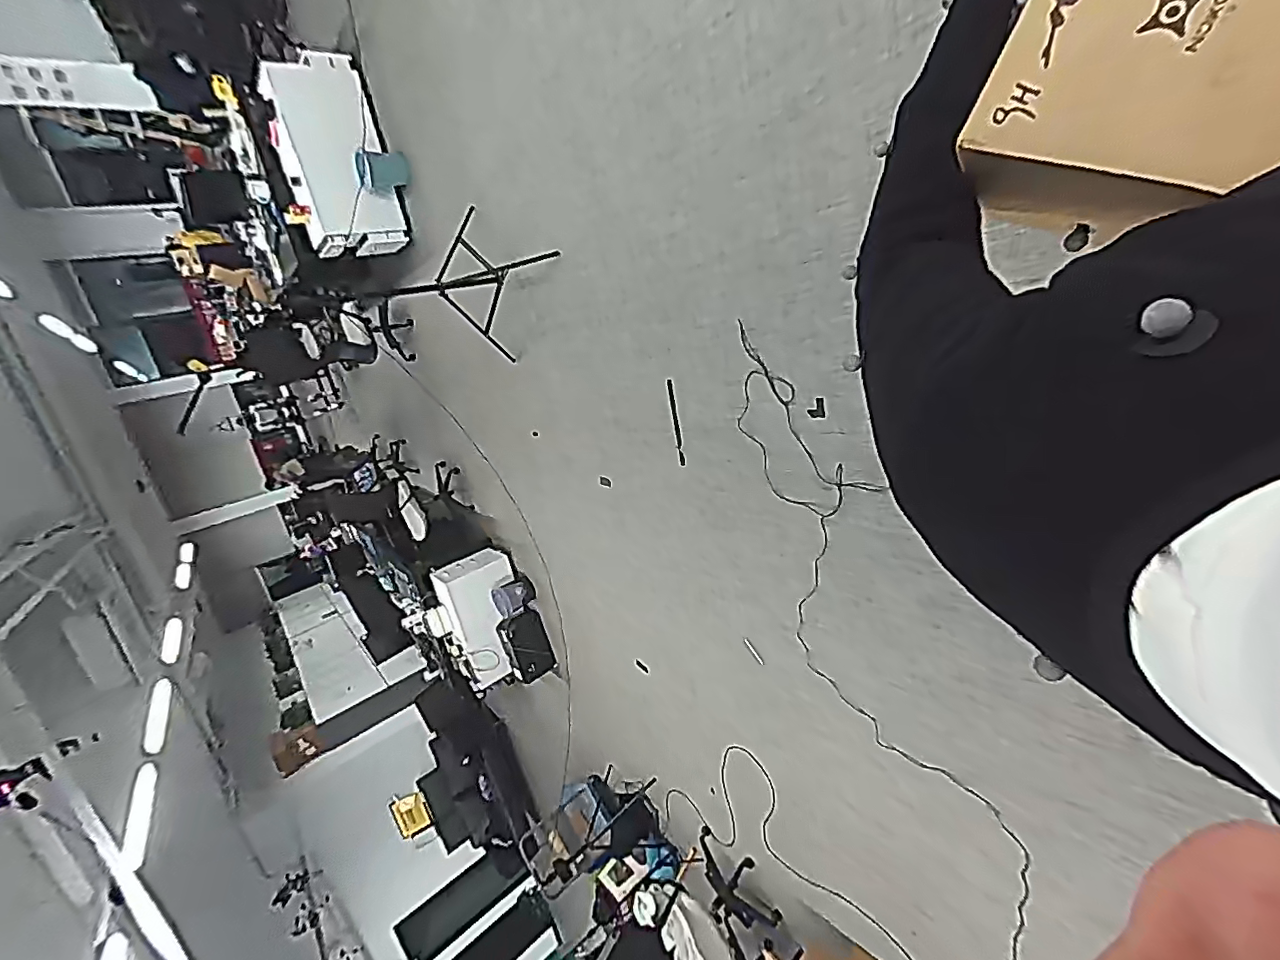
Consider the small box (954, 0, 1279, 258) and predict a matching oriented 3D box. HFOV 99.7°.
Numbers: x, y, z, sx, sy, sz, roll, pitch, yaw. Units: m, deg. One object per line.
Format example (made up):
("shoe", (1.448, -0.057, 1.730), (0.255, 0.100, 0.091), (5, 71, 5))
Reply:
("small box", (0.358, -0.271, 0.377), (0.179, 0.176, 0.168), (33, 113, 28))
